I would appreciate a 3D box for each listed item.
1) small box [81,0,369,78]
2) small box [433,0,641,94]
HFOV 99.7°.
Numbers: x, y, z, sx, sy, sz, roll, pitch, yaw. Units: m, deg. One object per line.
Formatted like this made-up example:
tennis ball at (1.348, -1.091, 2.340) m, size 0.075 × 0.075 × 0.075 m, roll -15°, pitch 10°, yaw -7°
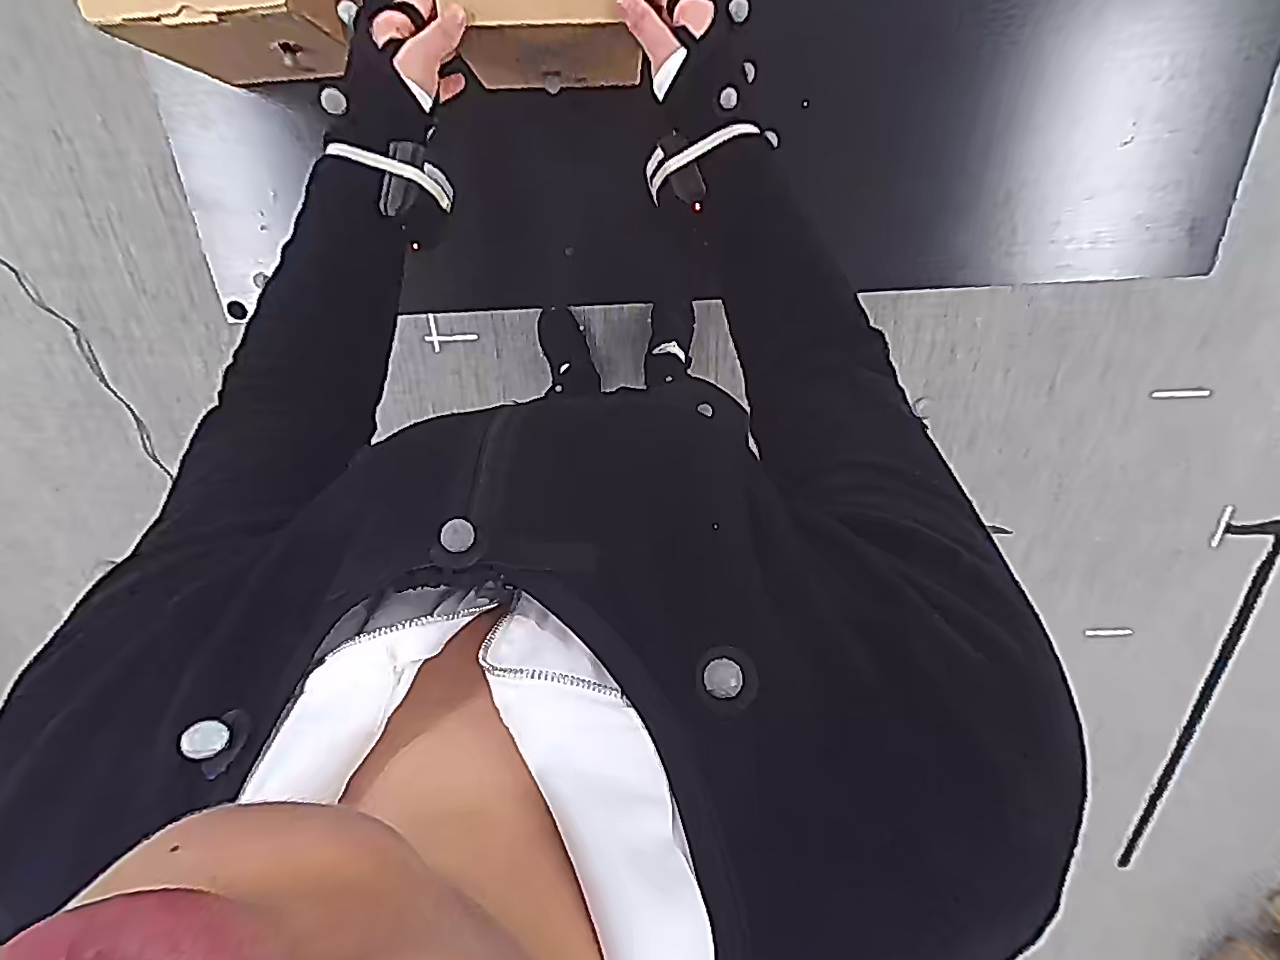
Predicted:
small box at (-0.367, -0.479, 0.474) m, size 0.168 × 0.176 × 0.179 m, roll -5°, pitch 112°, yaw 0°
small box at (-0.085, -0.470, 0.476) m, size 0.168 × 0.176 × 0.179 m, roll -2°, pitch 112°, yaw -2°
